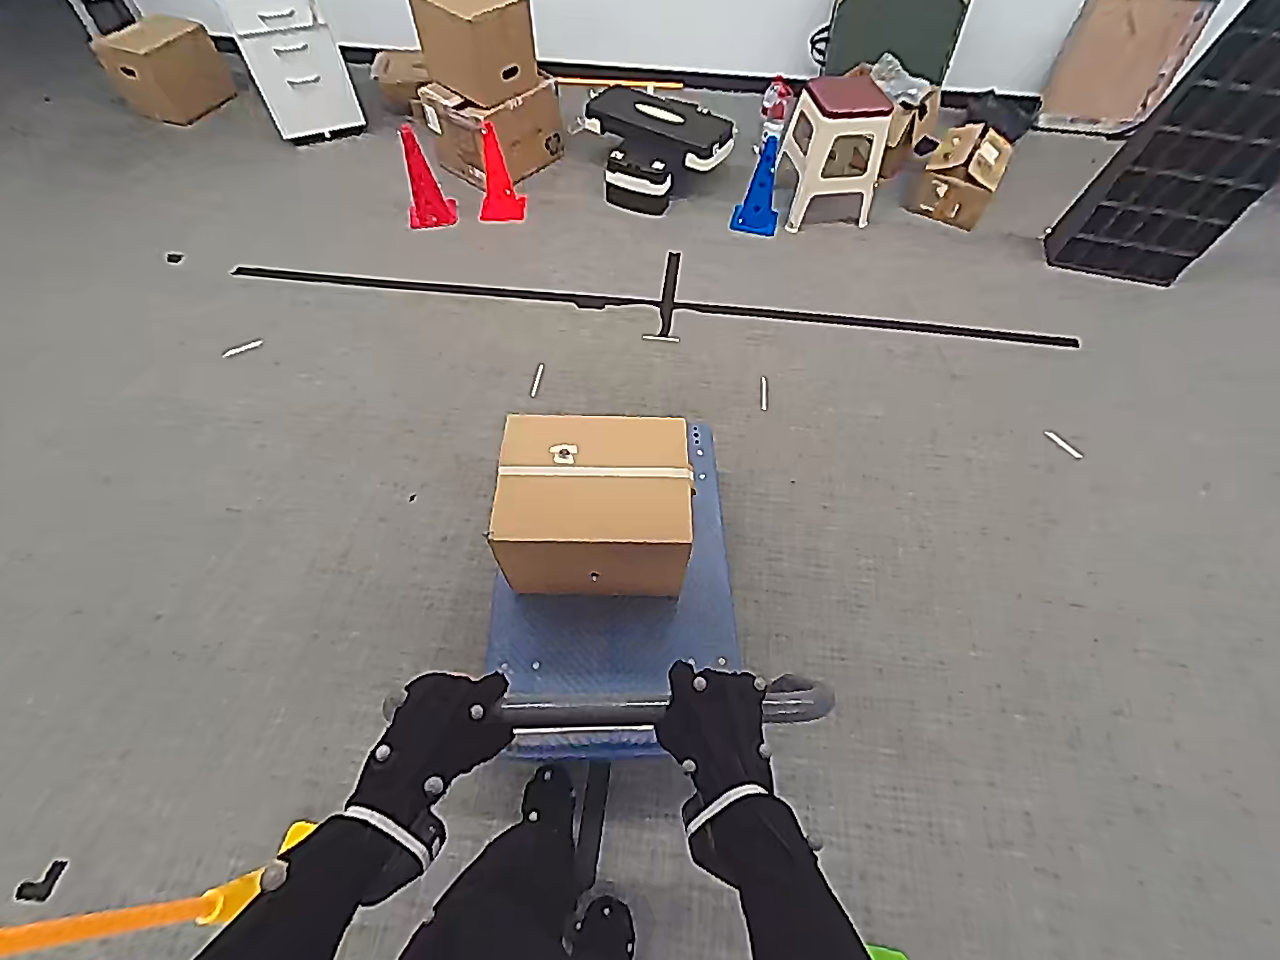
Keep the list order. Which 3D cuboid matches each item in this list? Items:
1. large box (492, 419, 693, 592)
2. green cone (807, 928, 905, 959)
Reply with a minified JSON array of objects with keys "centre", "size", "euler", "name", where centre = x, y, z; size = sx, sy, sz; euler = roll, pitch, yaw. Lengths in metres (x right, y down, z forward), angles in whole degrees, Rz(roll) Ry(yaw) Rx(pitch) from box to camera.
[{"centre":[-0.095,0.070,1.269],"size":[0.408,0.320,0.320],"euler":[1,59,0],"name":"large box"},{"centre":[0.434,0.931,0.913],"size":[0.202,0.368,0.200],"euler":[11,58,3],"name":"green cone"}]
